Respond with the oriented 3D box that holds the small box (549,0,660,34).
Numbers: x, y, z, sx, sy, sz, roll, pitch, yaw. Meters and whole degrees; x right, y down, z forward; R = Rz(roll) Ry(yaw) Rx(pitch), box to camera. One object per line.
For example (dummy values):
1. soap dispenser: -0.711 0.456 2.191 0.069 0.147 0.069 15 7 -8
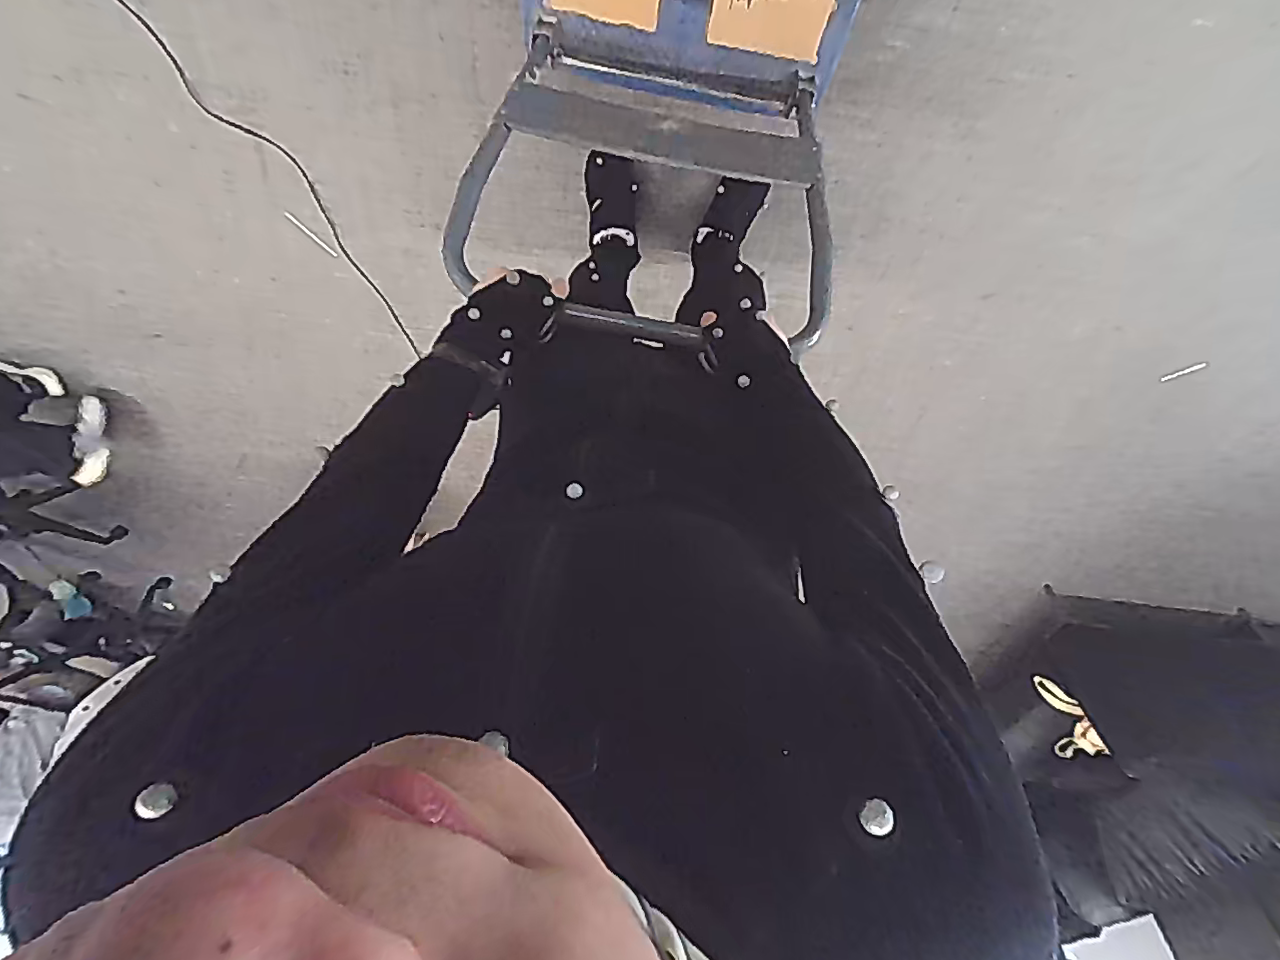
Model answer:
1. small box: -0.037 -0.817 0.798 0.168 0.176 0.179 10 151 -5
